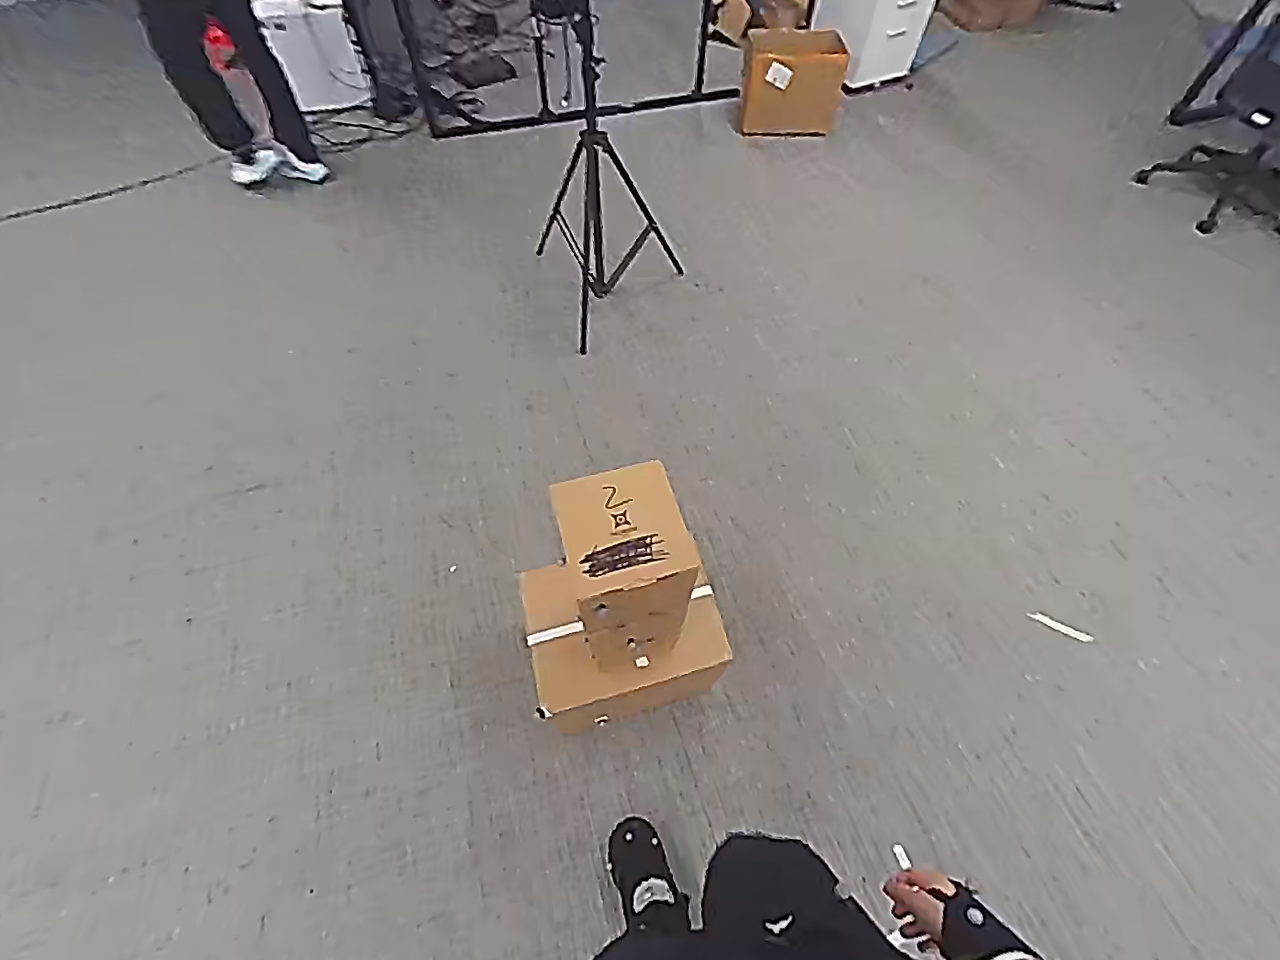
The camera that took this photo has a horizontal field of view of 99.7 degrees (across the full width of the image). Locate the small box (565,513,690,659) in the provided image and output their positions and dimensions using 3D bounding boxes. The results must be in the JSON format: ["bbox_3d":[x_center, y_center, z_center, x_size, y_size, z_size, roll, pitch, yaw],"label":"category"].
[{"bbox_3d":[-0.027,0.187,0.936,0.168,0.176,0.179,-15,62,-10],"label":"small box"}]

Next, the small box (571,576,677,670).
[{"bbox_3d":[-0.028,0.262,1.080,0.179,0.176,0.168,-15,61,-11],"label":"small box"}]
